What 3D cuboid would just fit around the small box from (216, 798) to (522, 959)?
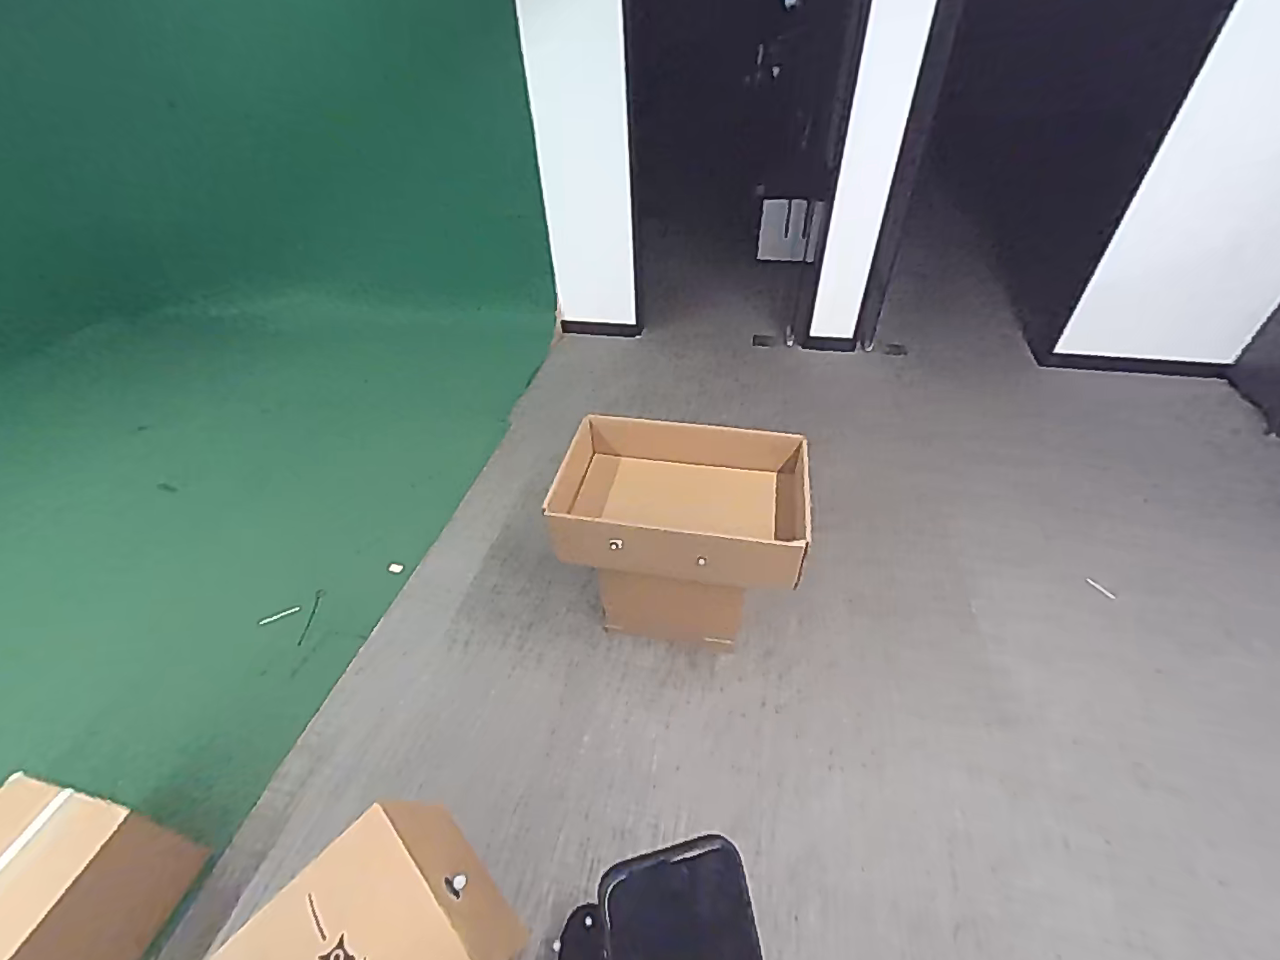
[{"bbox_3d":[-0.240,0.440,0.518,0.168,0.176,0.179,-41,62,-20],"label":"small box"}]
